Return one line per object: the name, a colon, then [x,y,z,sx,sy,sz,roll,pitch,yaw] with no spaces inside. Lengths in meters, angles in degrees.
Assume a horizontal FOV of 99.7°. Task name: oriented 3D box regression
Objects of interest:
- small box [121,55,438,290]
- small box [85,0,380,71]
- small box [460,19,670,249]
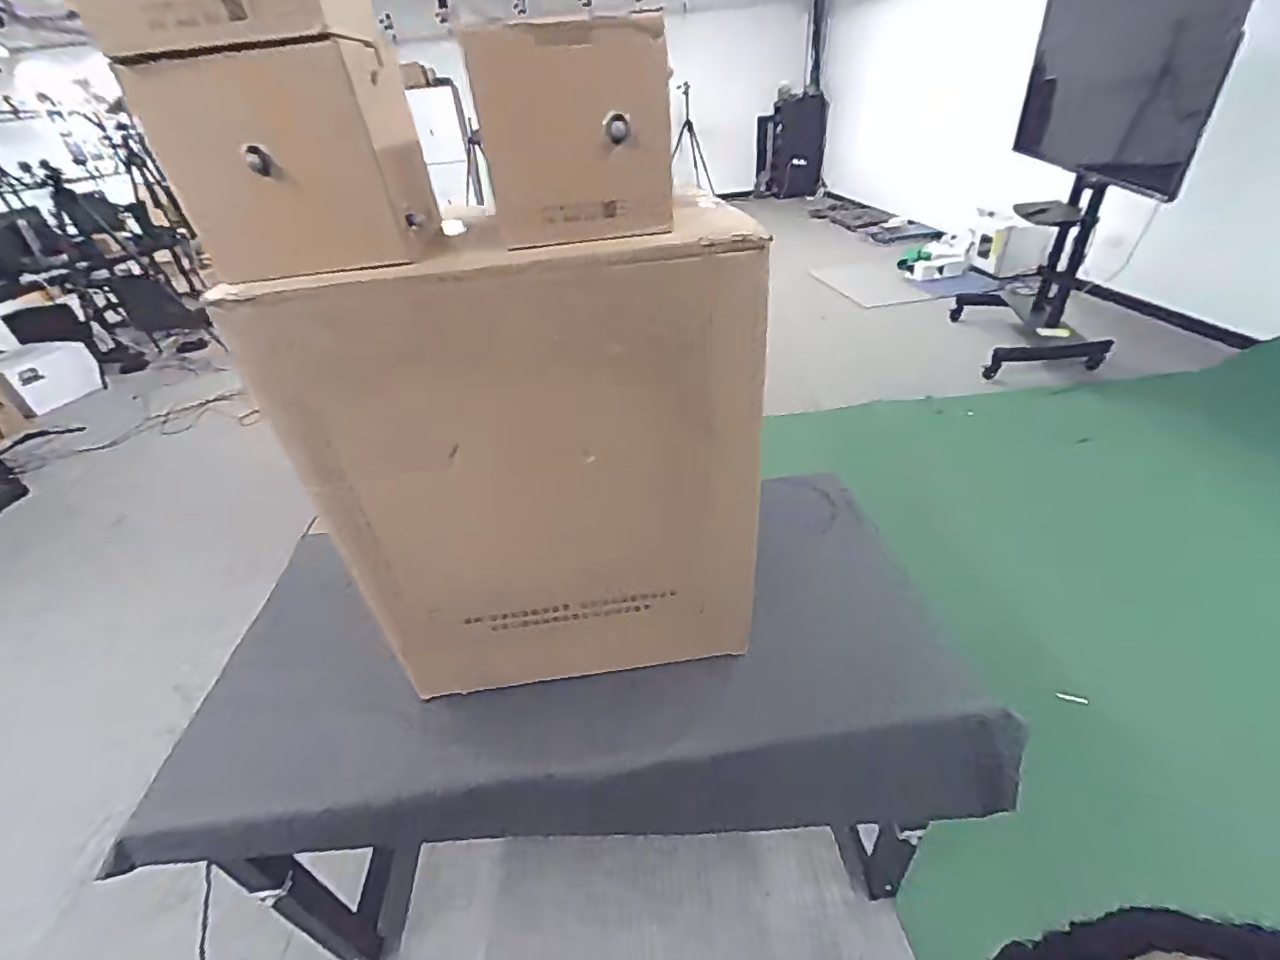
small box: [-0.311,-0.298,0.522,0.179,0.176,0.168,-9,38,-5]
small box: [-0.330,-0.427,0.424,0.168,0.176,0.179,-10,38,-4]
small box: [-0.063,-0.337,0.540,0.168,0.176,0.179,-6,36,-2]
